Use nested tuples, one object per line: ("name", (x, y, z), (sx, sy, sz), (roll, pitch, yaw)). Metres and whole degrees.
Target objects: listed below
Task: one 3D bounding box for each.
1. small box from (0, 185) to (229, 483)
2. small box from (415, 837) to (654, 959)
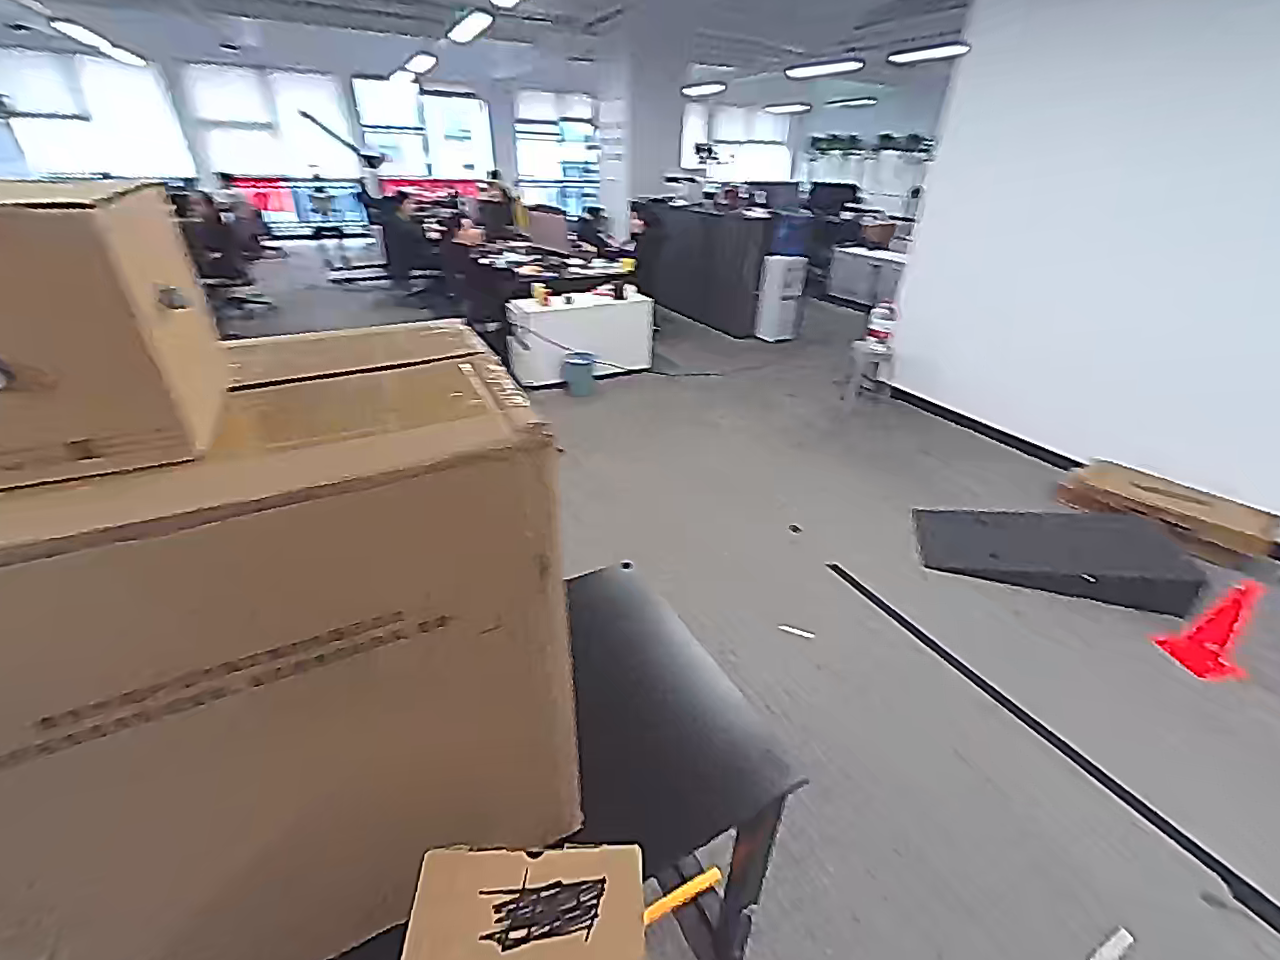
("small box", (-0.427, -0.108, 0.389), (0.168, 0.176, 0.179), (-13, 36, -24))
("small box", (-0.077, 0.400, 0.405), (0.168, 0.176, 0.179), (2, 37, -4))
